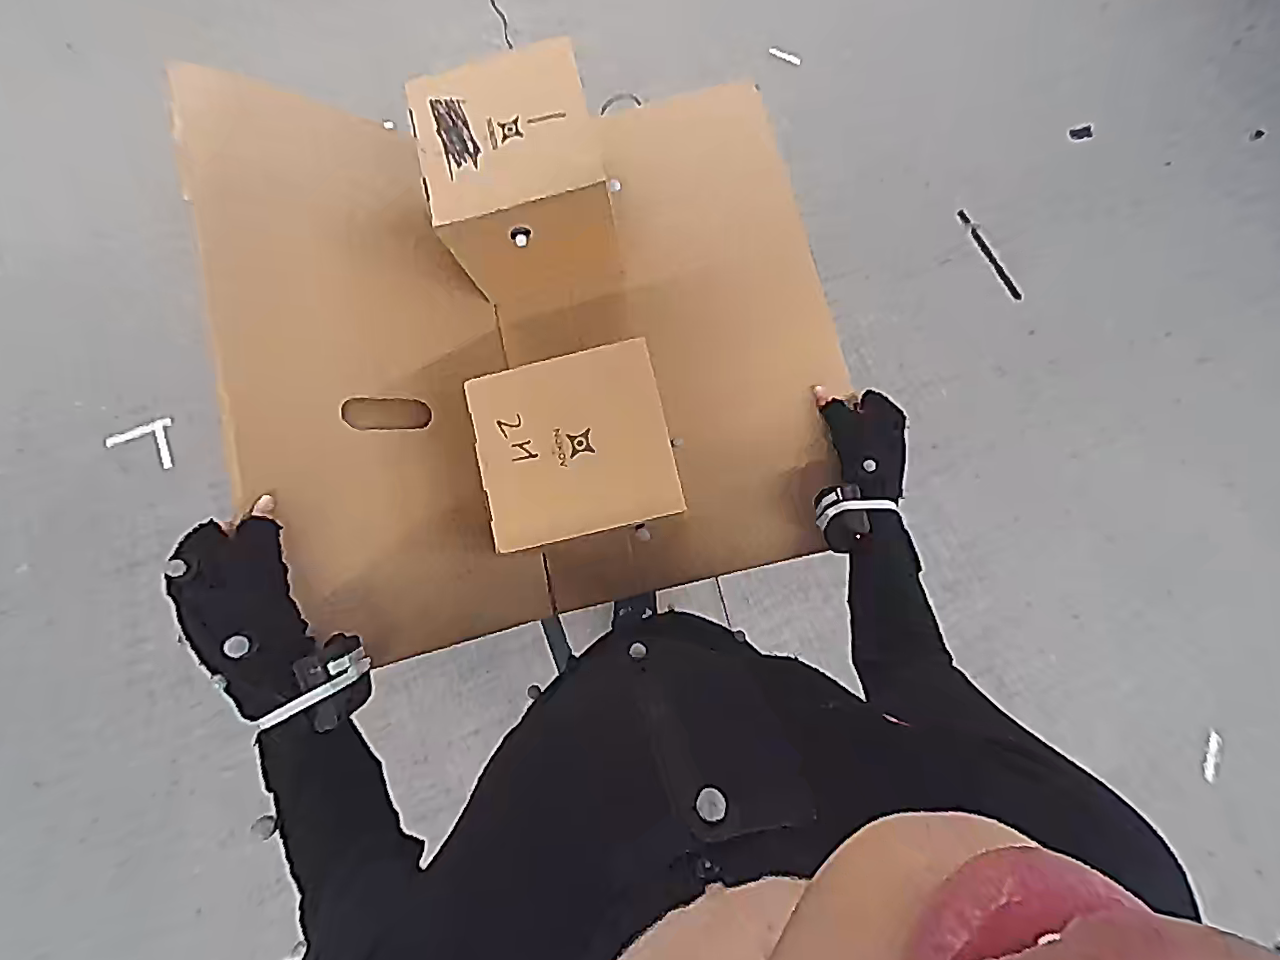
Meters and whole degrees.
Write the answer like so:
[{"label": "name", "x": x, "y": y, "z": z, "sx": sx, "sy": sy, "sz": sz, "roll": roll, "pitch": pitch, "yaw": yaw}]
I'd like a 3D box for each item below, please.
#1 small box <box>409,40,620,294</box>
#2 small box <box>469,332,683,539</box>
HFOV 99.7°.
[{"label": "small box", "x": -0.132, "y": -0.340, "z": 0.622, "sx": 0.179, "sy": 0.176, "sz": 0.168, "roll": -14, "pitch": 82, "yaw": 2}, {"label": "small box", "x": -0.056, "y": -0.035, "z": 0.578, "sx": 0.179, "sy": 0.176, "sz": 0.168, "roll": -13, "pitch": 82, "yaw": 3}]
